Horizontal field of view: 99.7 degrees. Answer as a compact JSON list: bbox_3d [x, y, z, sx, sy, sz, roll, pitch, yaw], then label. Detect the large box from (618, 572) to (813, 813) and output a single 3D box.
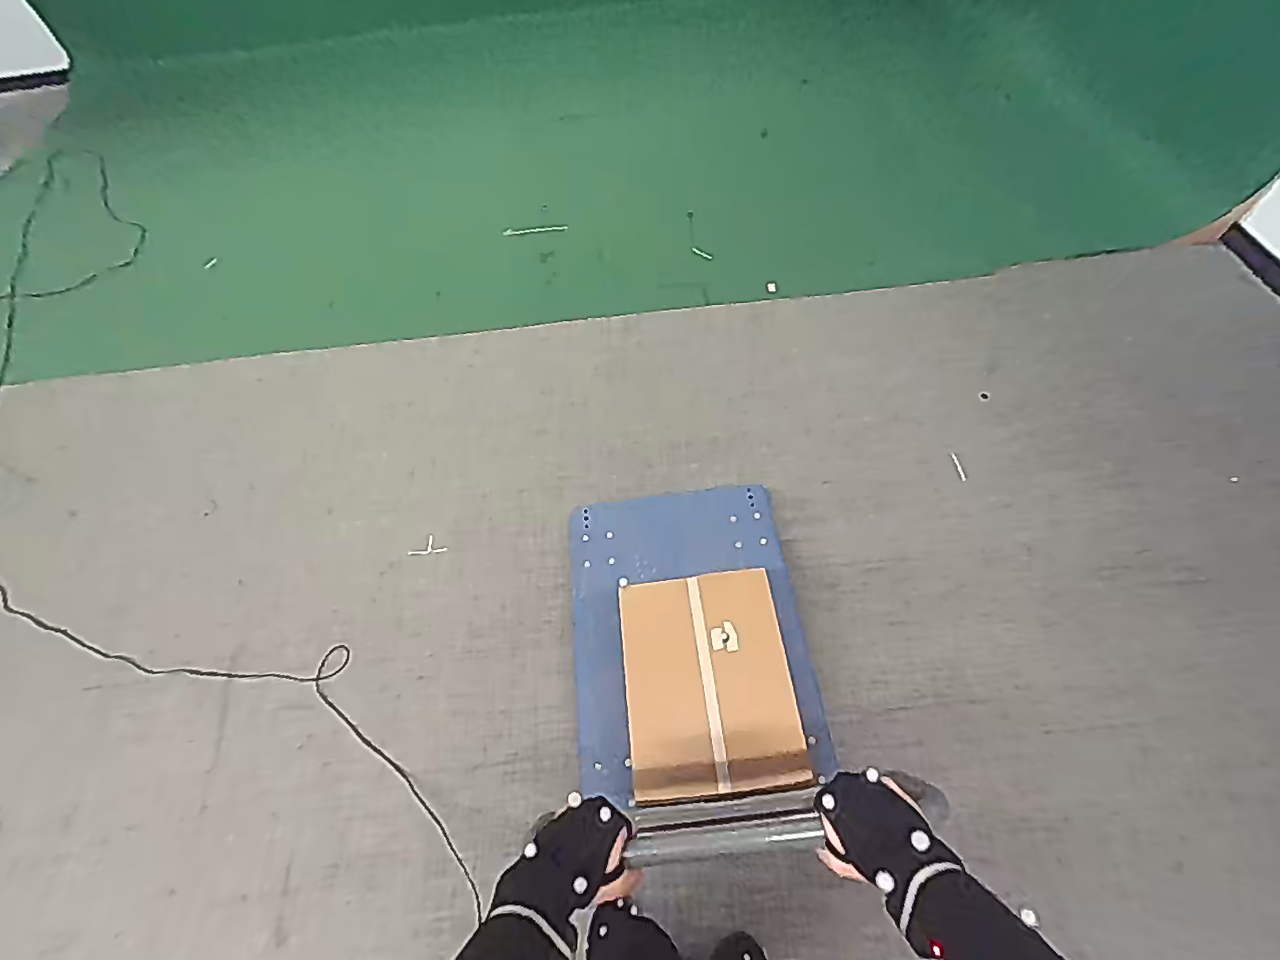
[{"bbox_3d":[0.143,0.460,1.159,0.320,0.320,0.408,-8,57,1],"label":"large box"}]
